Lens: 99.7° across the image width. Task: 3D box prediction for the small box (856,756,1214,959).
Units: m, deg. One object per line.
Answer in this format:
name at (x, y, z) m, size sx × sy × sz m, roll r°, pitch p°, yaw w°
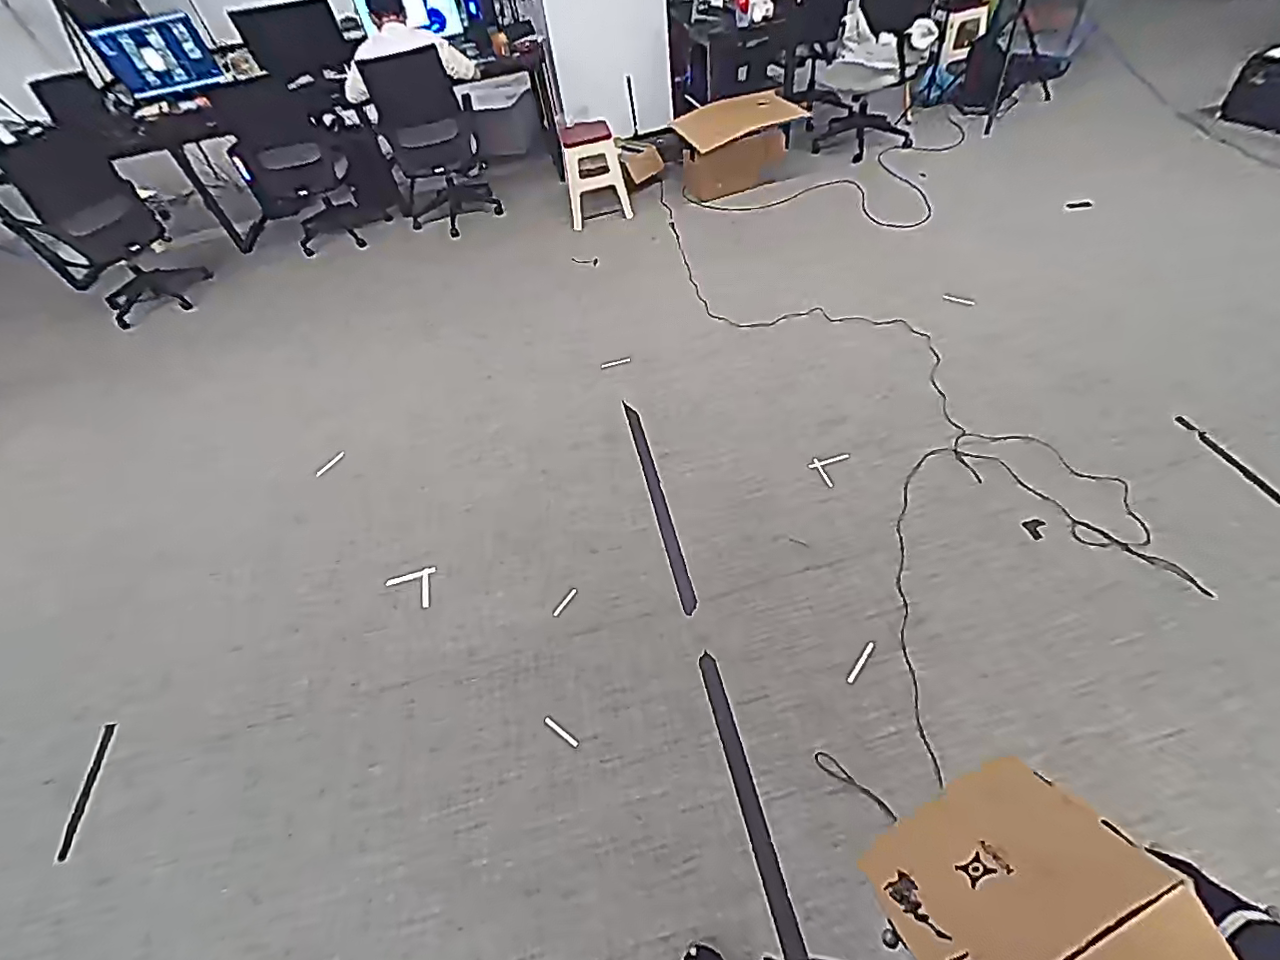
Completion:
small box at (0.321, 0.378, 0.437) m, size 0.179 × 0.168 × 0.176 m, roll -34°, pitch 91°, yaw -2°
